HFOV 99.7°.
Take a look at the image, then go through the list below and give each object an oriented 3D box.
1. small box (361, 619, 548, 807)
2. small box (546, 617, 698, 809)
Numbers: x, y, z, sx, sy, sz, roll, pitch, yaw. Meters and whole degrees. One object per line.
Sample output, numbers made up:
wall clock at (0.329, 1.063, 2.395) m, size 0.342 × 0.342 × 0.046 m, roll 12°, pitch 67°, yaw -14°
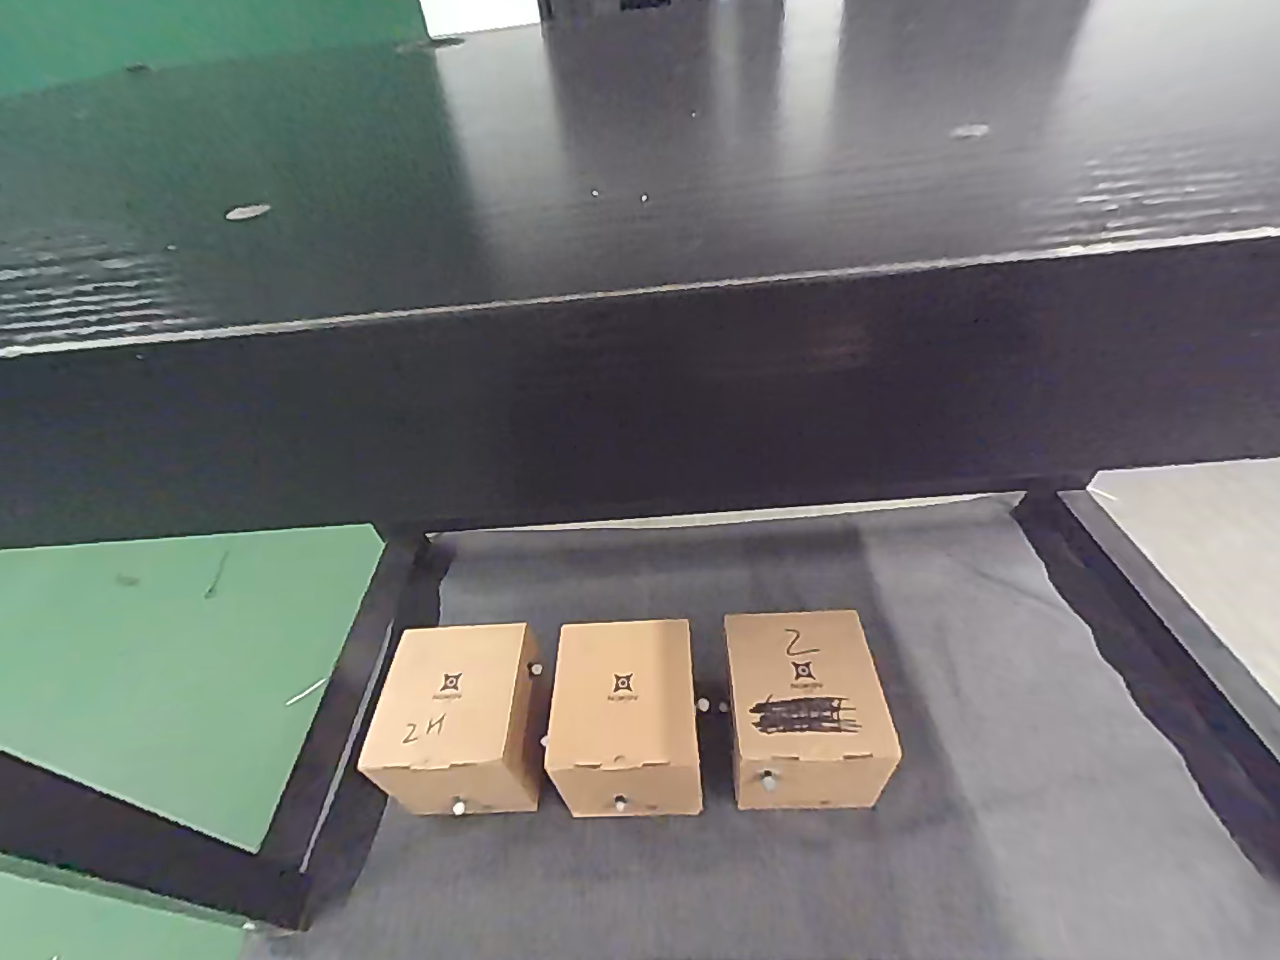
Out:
small box at (-0.222, 0.304, 0.706) m, size 0.168 × 0.176 × 0.179 m, roll -3°, pitch 43°, yaw 3°
small box at (-0.015, 0.297, 0.691) m, size 0.168 × 0.176 × 0.179 m, roll -3°, pitch 44°, yaw 3°
